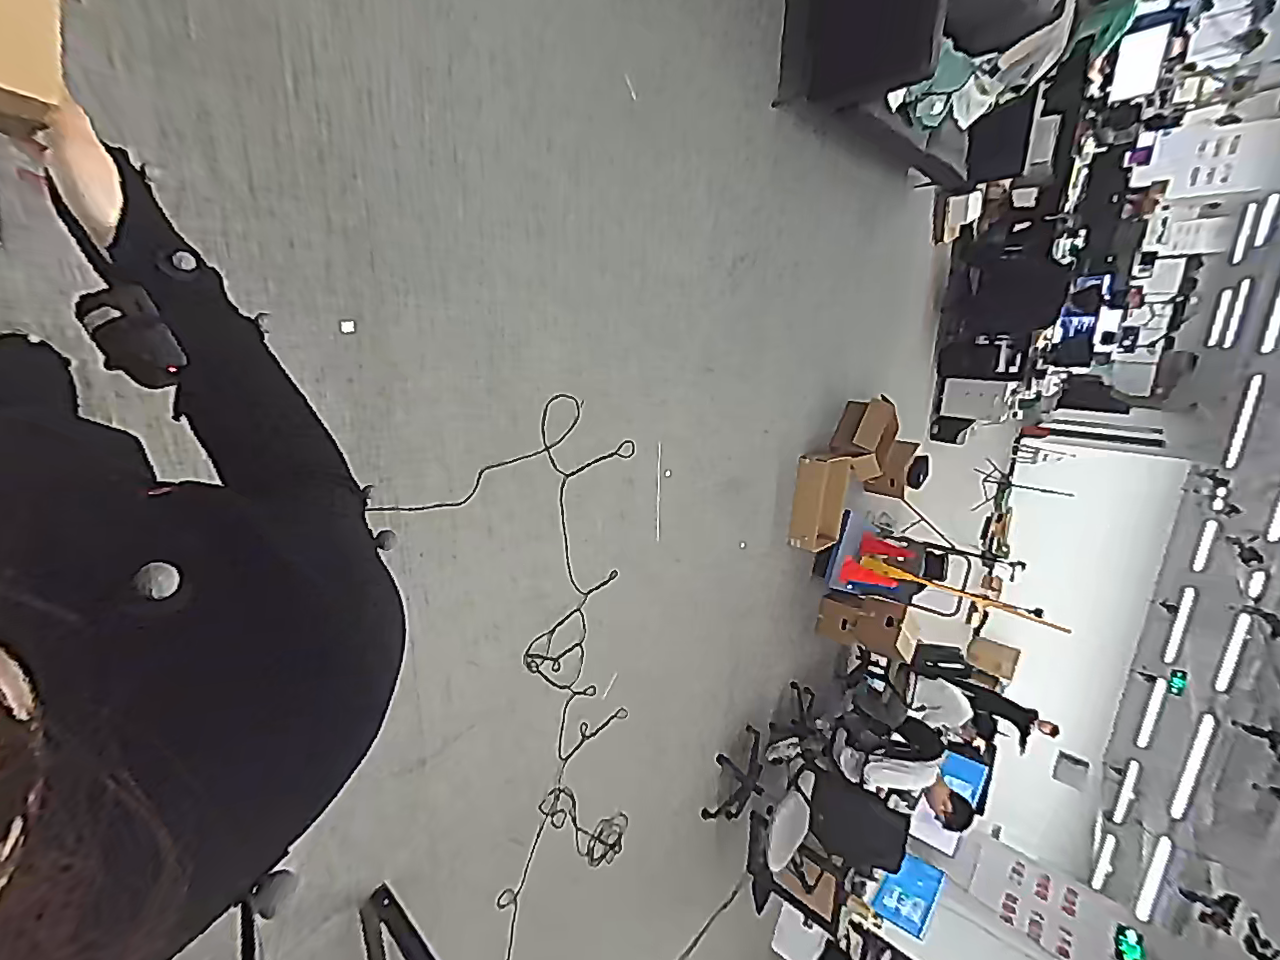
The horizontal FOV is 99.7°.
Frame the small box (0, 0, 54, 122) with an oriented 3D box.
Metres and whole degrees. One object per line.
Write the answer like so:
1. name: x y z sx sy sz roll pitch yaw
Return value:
1. small box: -0.422 -0.310 0.269 0.168 0.176 0.179 -5 110 -53
